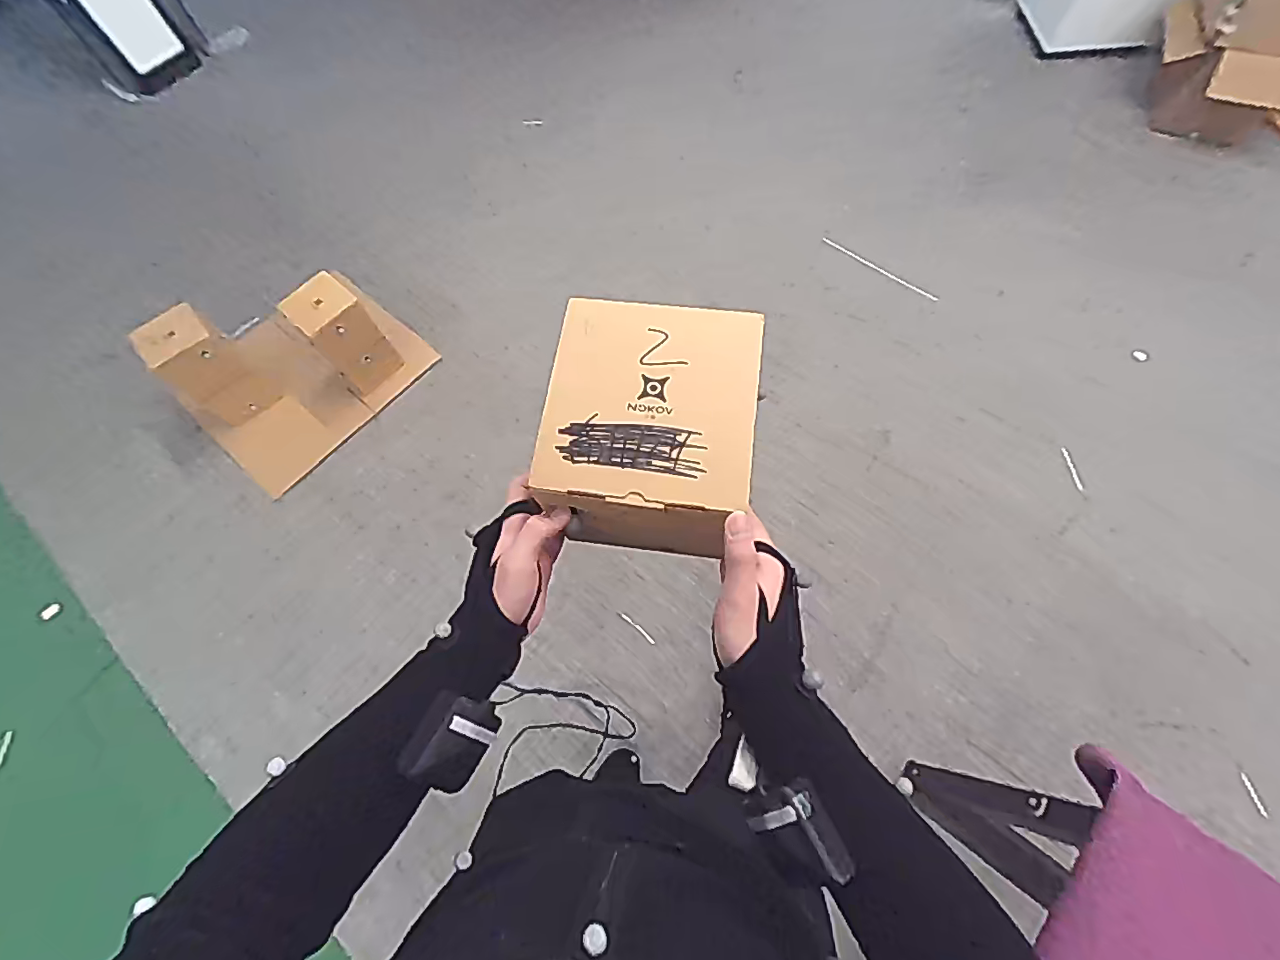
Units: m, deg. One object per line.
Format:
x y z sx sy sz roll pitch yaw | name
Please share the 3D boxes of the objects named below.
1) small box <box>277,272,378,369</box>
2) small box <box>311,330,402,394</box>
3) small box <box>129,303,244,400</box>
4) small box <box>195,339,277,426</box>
-0.916 -0.471 1.611 0.168 0.176 0.179 39 75 14 | small box
-0.918 -0.415 1.763 0.168 0.176 0.179 39 74 15 | small box
-1.304 -0.369 1.572 0.179 0.176 0.168 -39 72 -13 | small box
-1.307 -0.308 1.727 0.179 0.176 0.168 -39 72 -13 | small box
